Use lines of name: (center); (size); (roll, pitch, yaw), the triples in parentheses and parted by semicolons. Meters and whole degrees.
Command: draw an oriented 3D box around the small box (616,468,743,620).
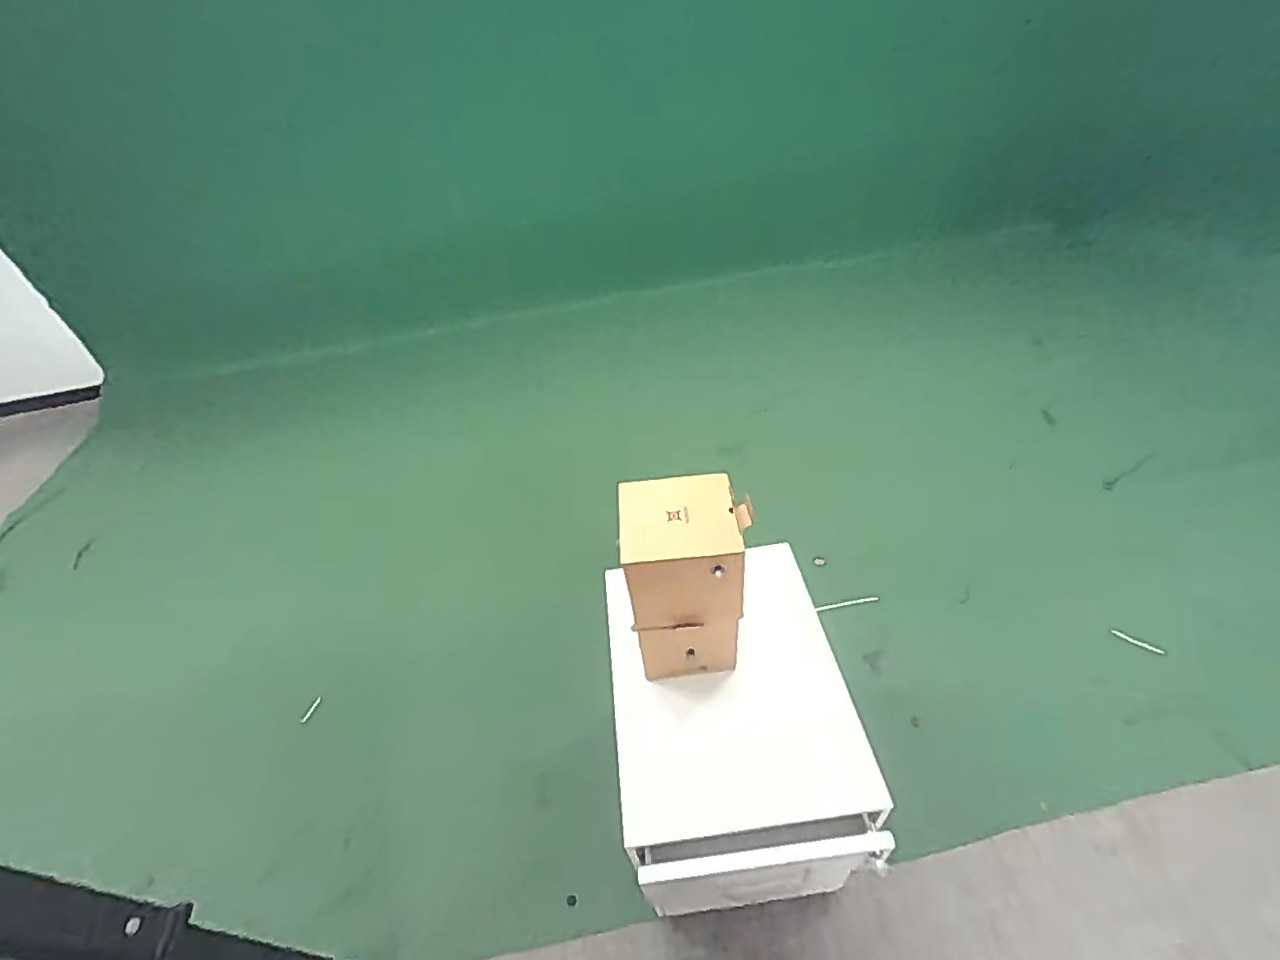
small box: (0.061, 0.104, 0.845); (0.179, 0.176, 0.168); (-6, 43, 2)

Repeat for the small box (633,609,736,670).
small box: (0.074, 0.220, 0.958); (0.168, 0.176, 0.179); (-8, 44, 0)
